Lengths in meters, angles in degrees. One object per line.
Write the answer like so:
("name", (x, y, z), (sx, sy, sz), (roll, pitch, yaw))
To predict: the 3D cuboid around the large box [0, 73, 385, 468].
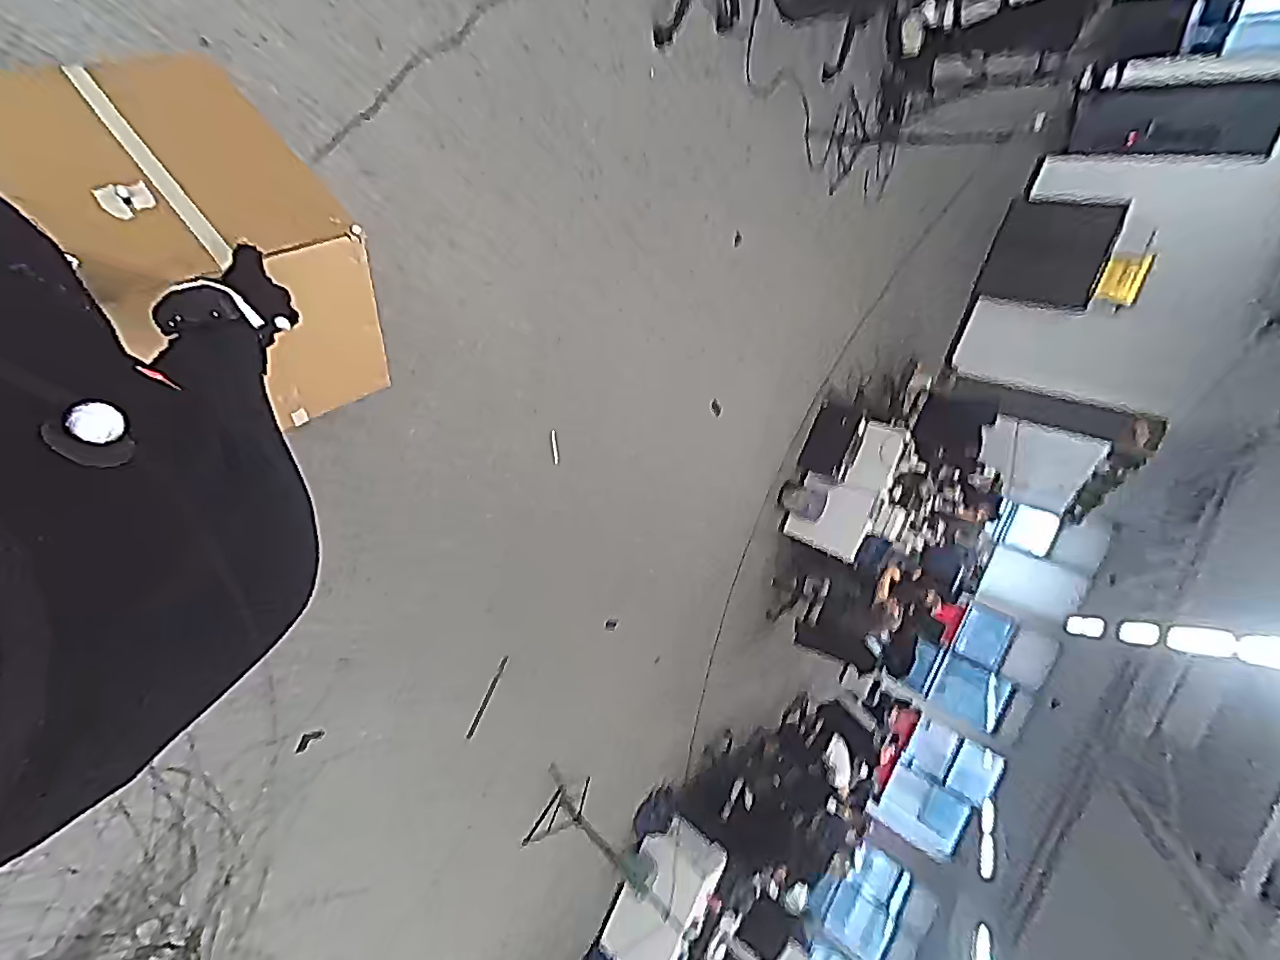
("large box", (-0.640, -0.300, 0.788), (0.320, 0.408, 0.320), (-36, 167, -30))
